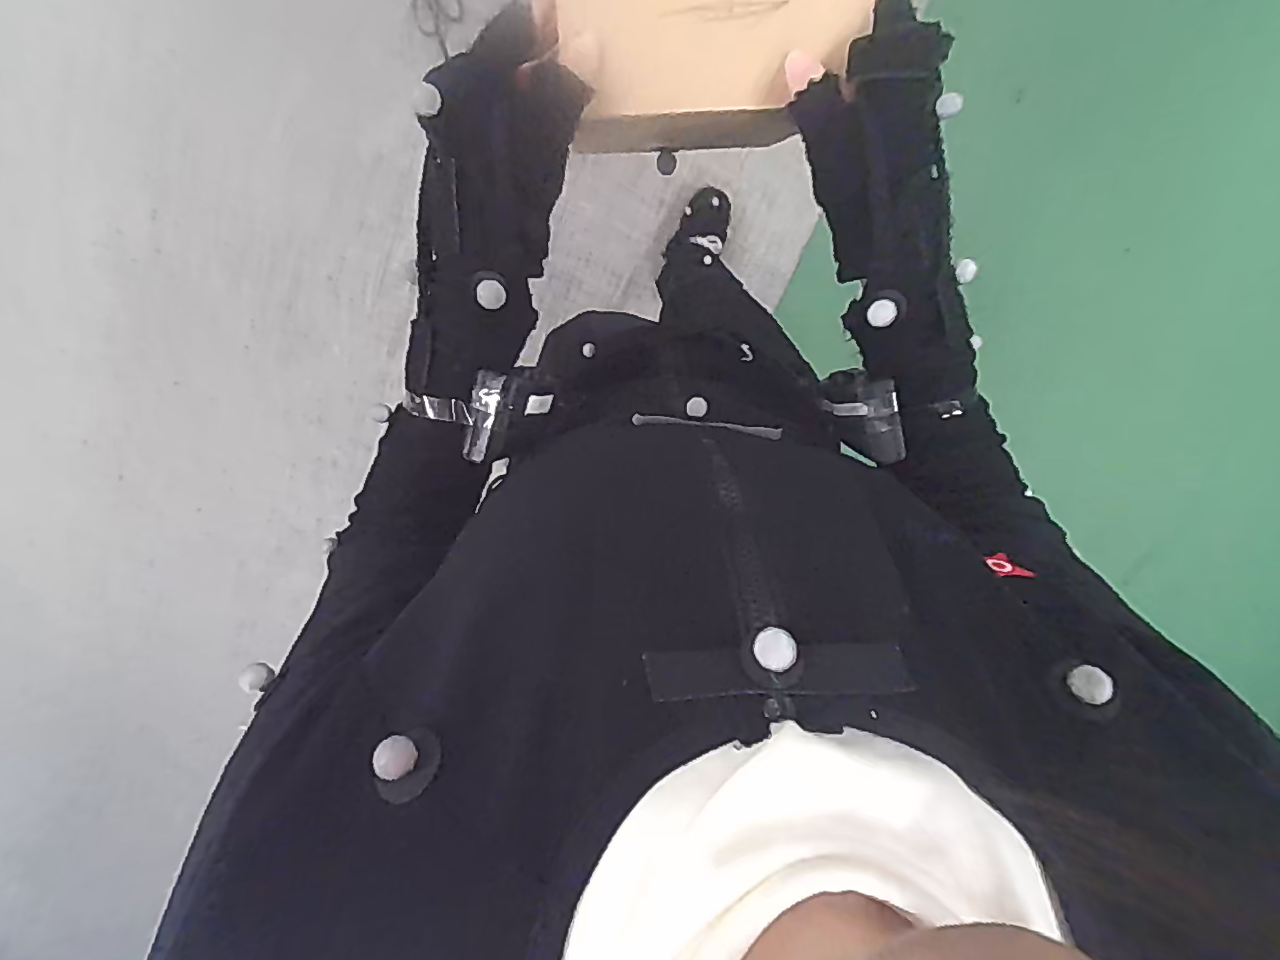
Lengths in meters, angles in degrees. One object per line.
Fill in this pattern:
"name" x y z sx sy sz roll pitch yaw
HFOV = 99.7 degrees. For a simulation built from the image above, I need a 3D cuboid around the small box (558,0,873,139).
"small box" 0.031 -0.323 0.327 0.168 0.176 0.179 -5 116 -2
